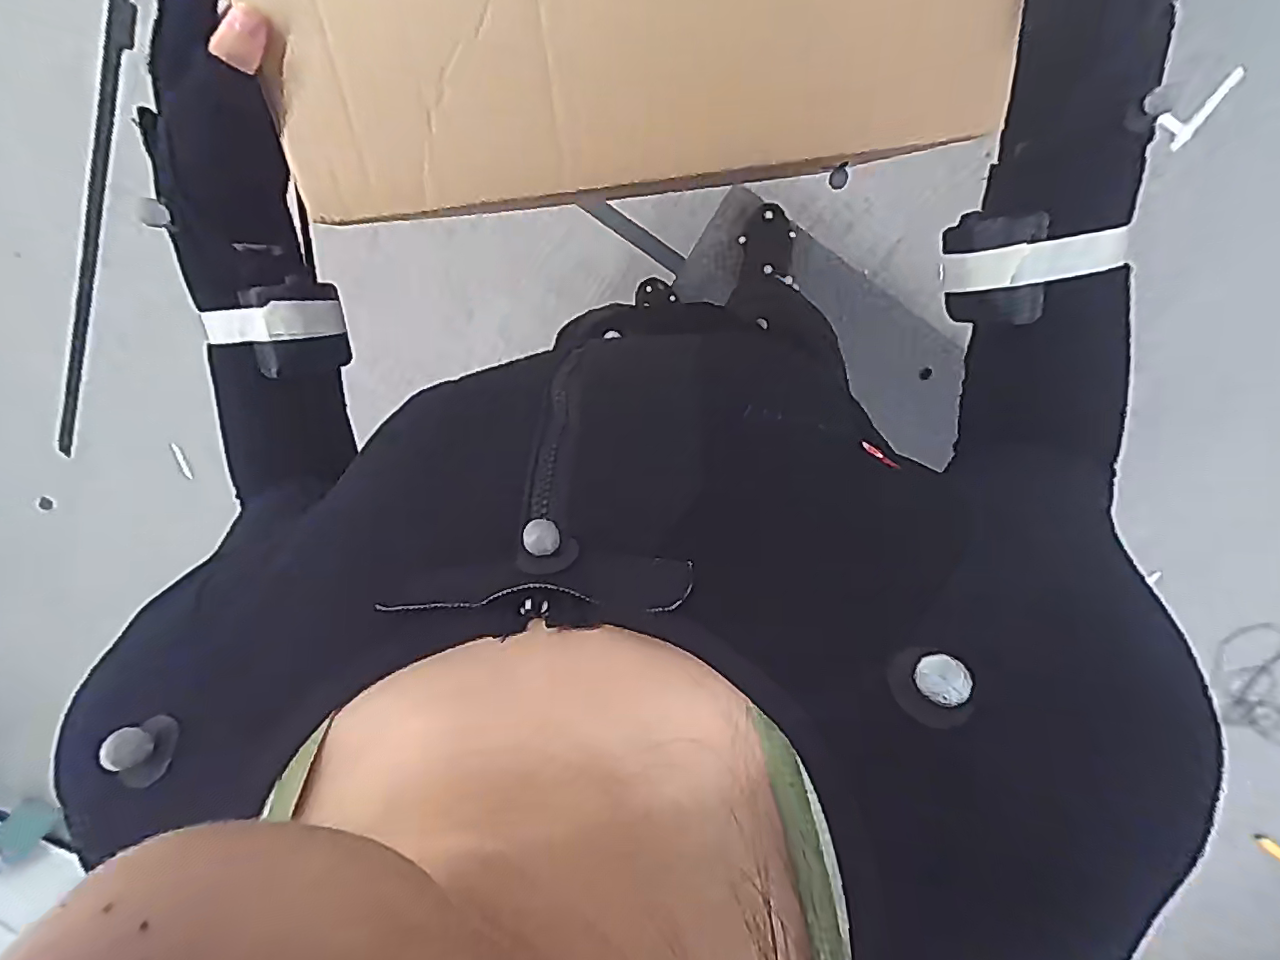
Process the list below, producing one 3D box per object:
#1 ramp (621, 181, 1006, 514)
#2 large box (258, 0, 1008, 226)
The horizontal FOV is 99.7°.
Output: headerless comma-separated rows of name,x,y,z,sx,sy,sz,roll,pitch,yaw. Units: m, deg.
ramp,0.492,-0.294,1.473,0.991,0.206,0.509,30,112,-7
large box,-0.005,-0.383,0.389,0.408,0.320,0.320,-3,116,6
